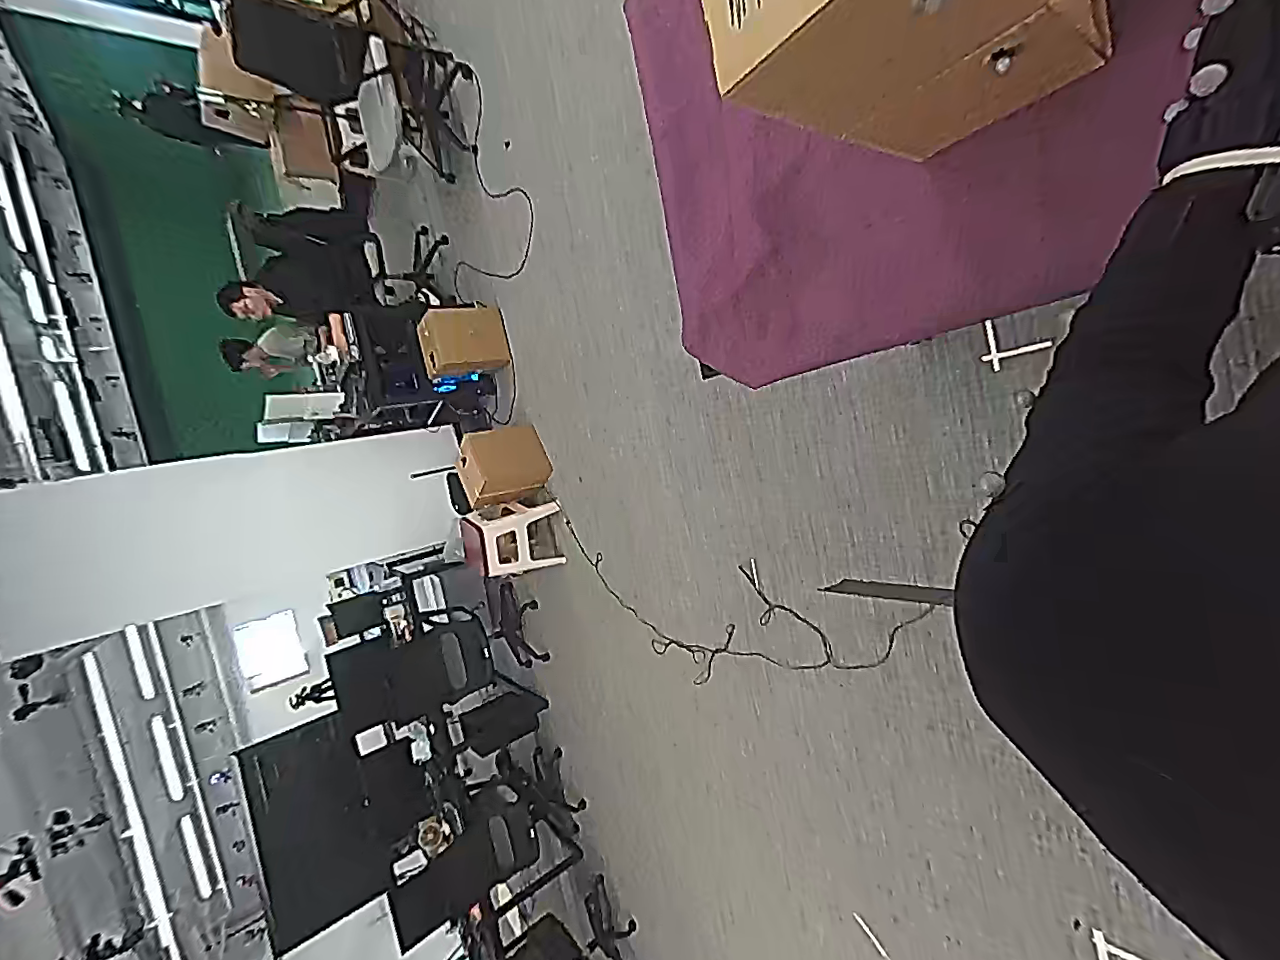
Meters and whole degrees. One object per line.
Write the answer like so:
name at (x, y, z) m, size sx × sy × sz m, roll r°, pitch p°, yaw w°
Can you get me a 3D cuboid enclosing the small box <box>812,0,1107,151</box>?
small box at (0.286, -0.436, 0.496) m, size 0.179 × 0.176 × 0.168 m, roll -7°, pitch 97°, yaw 53°
